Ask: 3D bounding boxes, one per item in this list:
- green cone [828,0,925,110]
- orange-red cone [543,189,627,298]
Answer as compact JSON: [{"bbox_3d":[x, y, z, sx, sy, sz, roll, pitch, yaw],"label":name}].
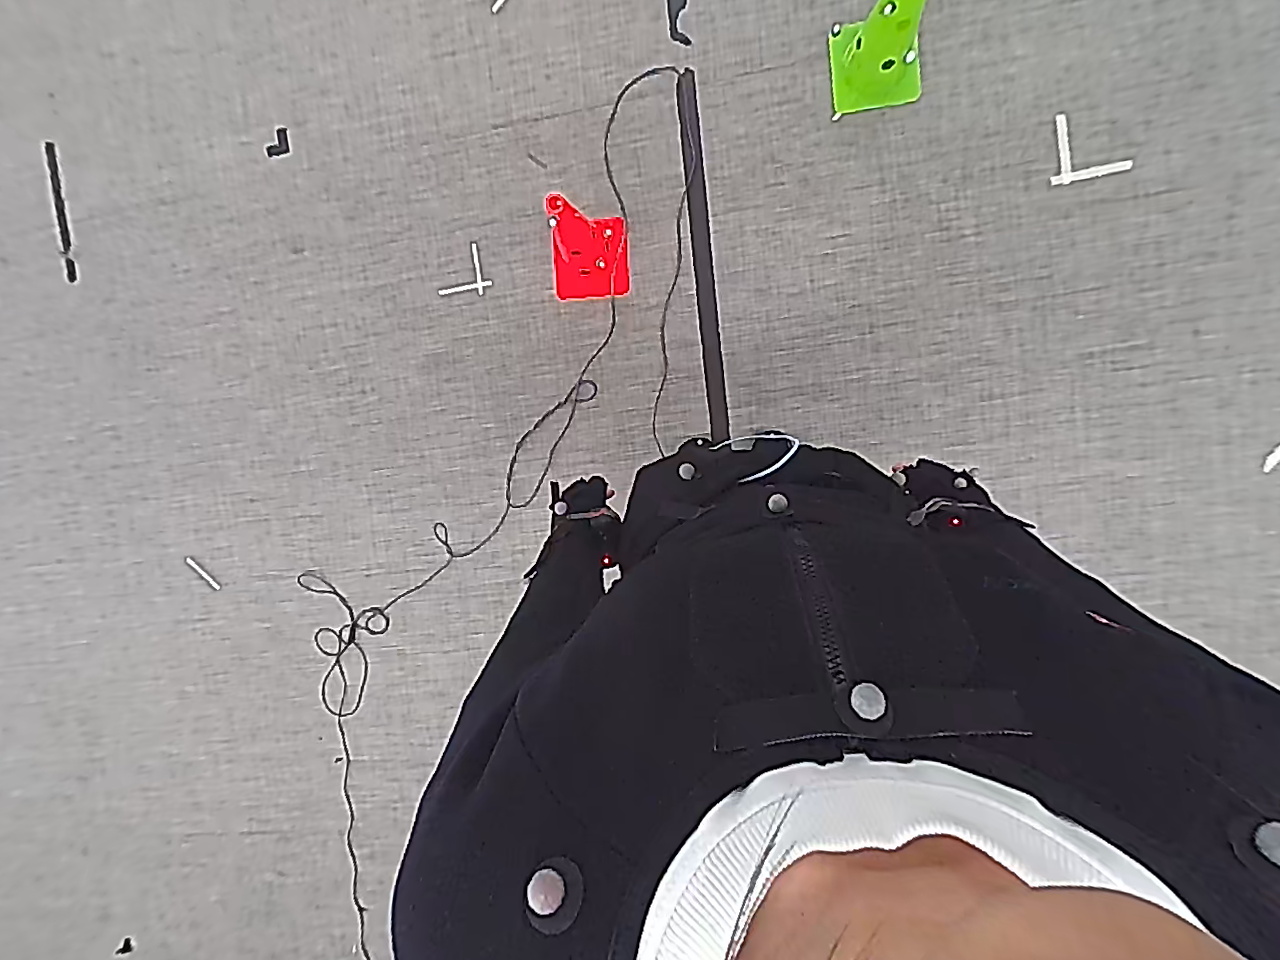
[{"bbox_3d":[0.537,-0.978,1.115,0.202,0.368,0.200,-6,94,6],"label":"green cone"},{"bbox_3d":[-0.154,-0.567,1.240,0.199,0.360,0.198,-1,94,8],"label":"orange-red cone"}]
